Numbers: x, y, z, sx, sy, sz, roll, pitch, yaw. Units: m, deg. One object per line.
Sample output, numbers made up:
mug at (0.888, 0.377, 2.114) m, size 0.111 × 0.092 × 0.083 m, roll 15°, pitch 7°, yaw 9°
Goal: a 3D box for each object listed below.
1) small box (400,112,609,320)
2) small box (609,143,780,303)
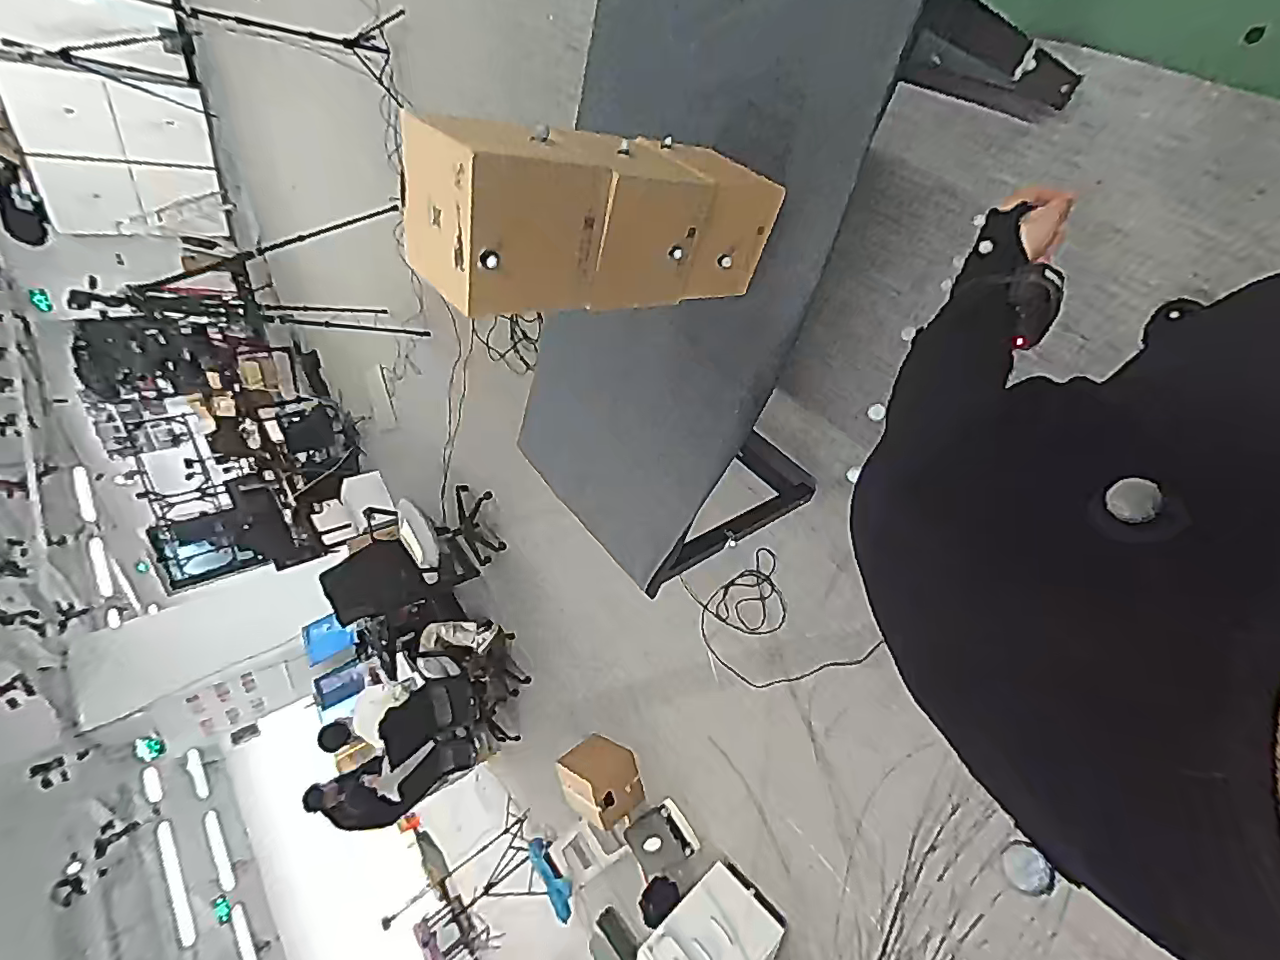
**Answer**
small box at (-0.162, -0.305, 0.635) m, size 0.179 × 0.176 × 0.168 m, roll 44°, pitch 136°, yaw 31°
small box at (0.083, -0.395, 0.834) m, size 0.179 × 0.176 × 0.168 m, roll 46°, pitch 136°, yaw 29°
